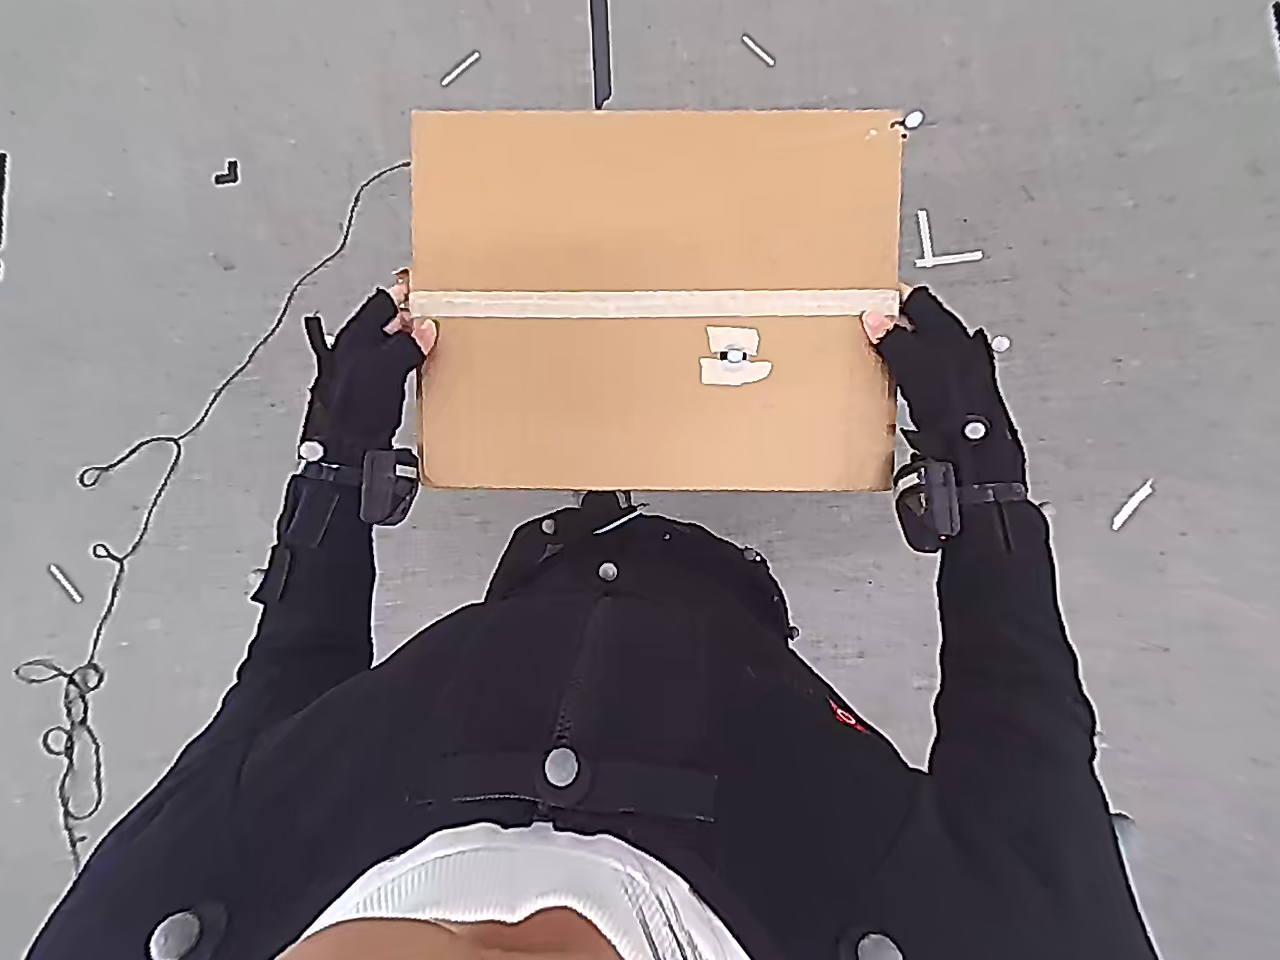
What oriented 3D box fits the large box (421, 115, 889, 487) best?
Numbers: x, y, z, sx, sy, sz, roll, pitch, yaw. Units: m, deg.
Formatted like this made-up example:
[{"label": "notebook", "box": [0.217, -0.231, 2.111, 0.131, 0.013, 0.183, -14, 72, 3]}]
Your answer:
[{"label": "large box", "box": [0.013, -0.161, 0.615, 0.408, 0.320, 0.320, 0, 94, 0]}]
